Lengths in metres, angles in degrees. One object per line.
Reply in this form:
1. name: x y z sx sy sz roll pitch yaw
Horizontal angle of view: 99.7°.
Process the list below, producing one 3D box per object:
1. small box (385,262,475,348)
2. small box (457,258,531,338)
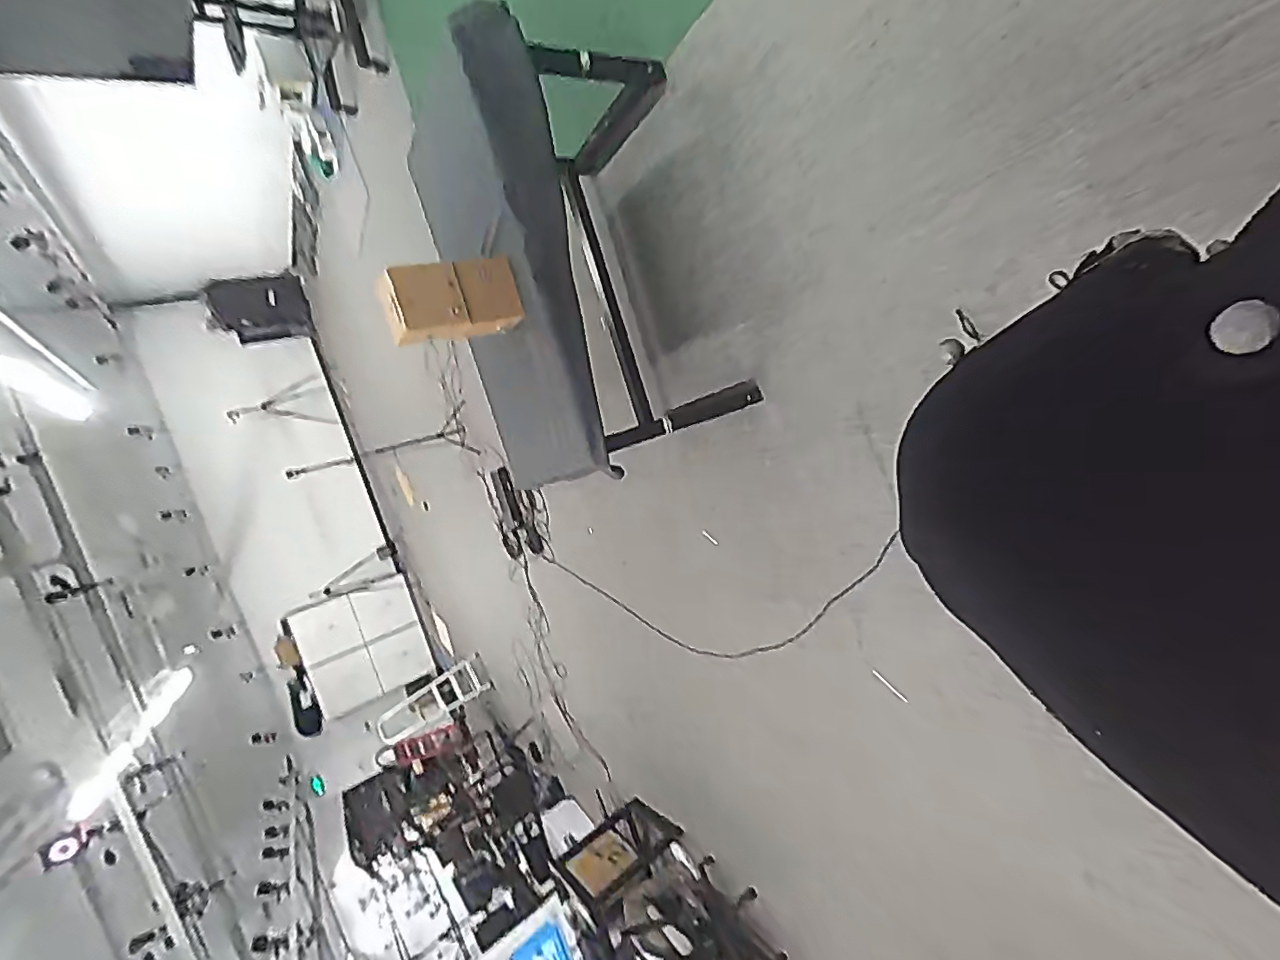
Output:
1. small box: -0.567 -0.476 1.469 0.179 0.176 0.168 -10 98 57
2. small box: -0.439 -0.526 1.560 0.168 0.176 0.179 -4 105 58
